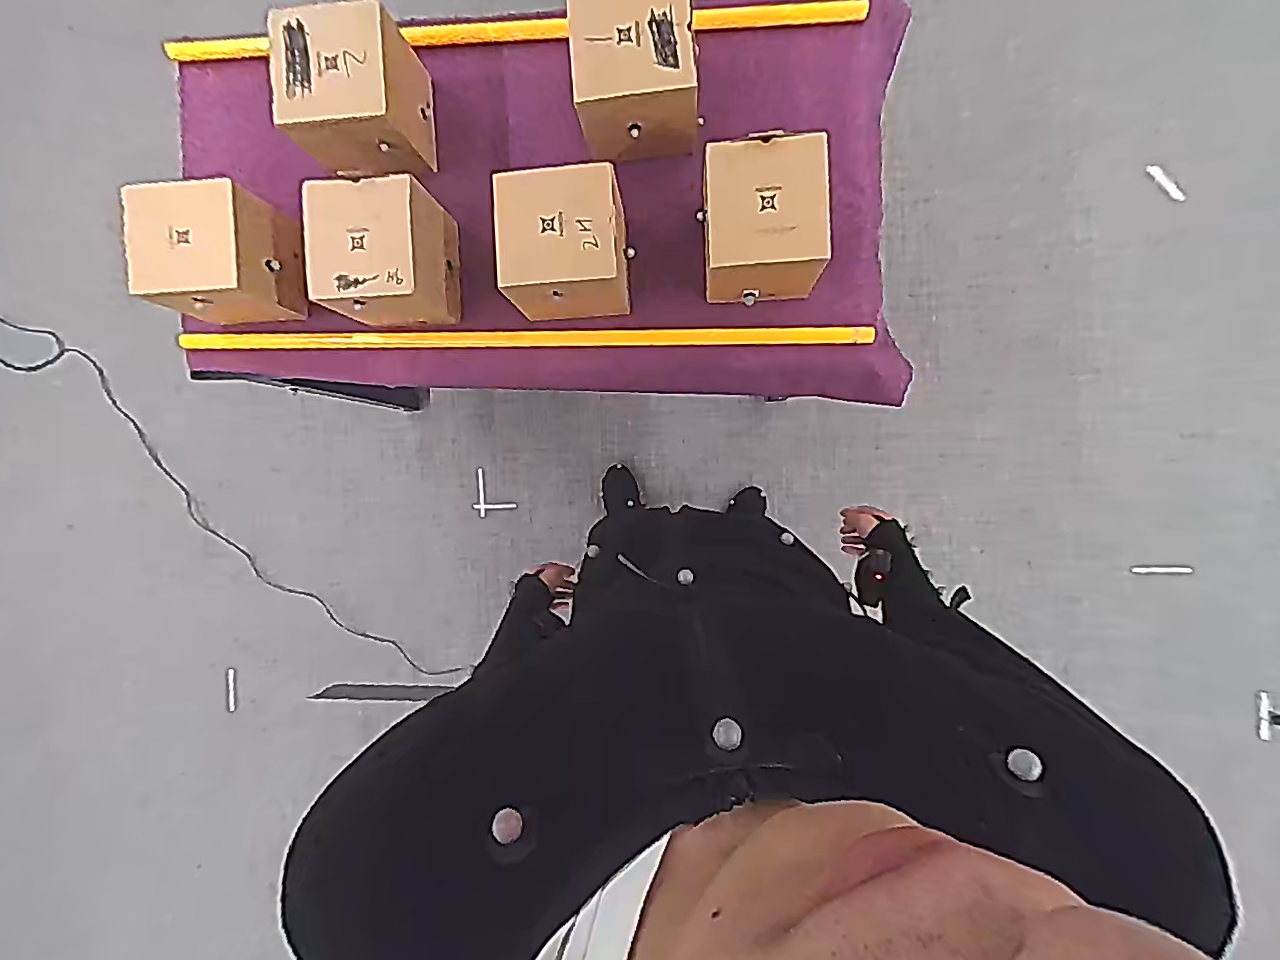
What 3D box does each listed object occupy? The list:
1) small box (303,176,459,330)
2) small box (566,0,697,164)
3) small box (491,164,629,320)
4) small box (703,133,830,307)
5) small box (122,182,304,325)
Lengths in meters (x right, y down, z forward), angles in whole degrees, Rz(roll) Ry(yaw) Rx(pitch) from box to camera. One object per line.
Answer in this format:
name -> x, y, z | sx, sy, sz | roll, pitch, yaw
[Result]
small box -> -0.402, -0.350, 0.862 | 0.168, 0.176, 0.179 | -1, 91, 6
small box -> -0.007, -0.613, 0.823 | 0.179, 0.176, 0.168 | -4, 92, 6
small box -> -0.116, -0.354, 0.837 | 0.179, 0.176, 0.168 | -2, 90, 6
small box -> 0.180, -0.377, 0.810 | 0.168, 0.176, 0.179 | -2, 89, 6
small box -> -0.682, -0.360, 0.886 | 0.179, 0.176, 0.168 | -2, 91, 4
